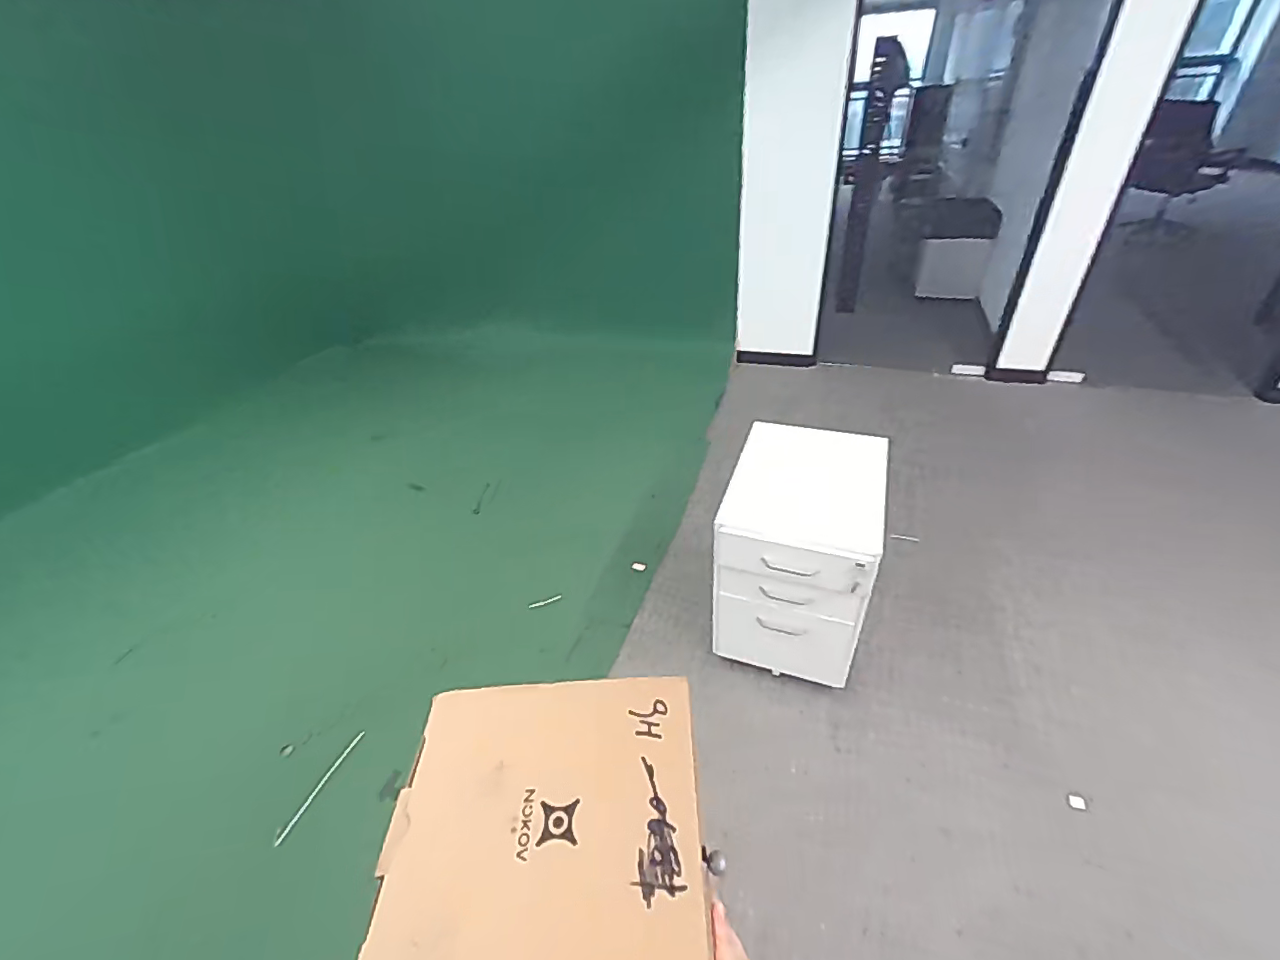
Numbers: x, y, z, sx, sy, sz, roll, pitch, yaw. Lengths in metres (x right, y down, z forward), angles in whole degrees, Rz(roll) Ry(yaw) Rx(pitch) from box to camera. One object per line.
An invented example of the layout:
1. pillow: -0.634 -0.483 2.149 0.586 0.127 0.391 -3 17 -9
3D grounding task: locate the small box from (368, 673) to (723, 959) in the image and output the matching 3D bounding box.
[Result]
1. small box: -0.040 0.251 0.363 0.179 0.176 0.168 -5 42 5
